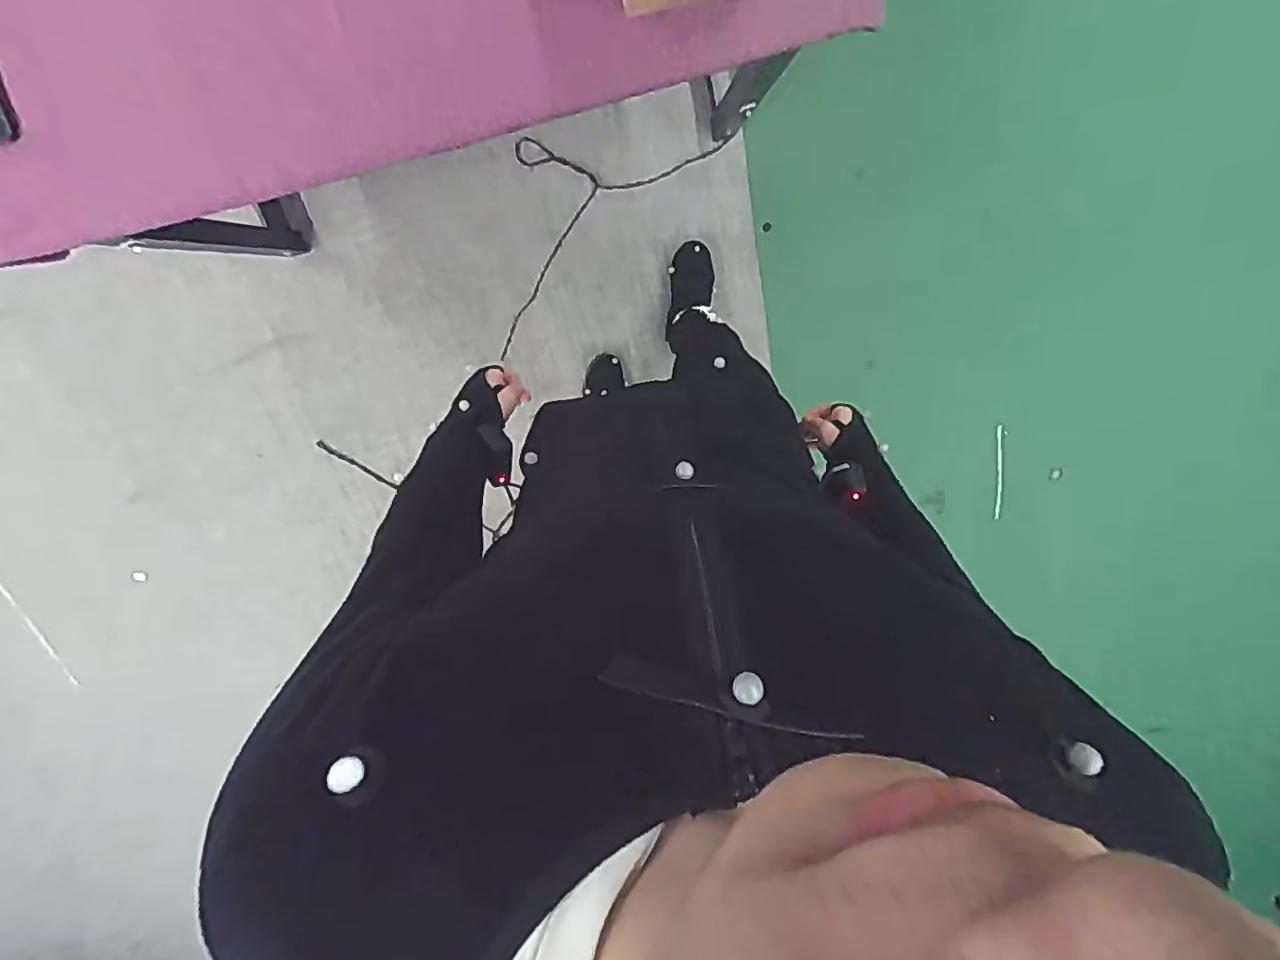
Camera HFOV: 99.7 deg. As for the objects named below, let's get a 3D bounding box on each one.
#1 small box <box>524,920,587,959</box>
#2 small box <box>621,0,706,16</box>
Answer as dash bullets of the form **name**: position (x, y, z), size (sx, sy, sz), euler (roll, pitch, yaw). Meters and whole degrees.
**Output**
- **small box**: position (-0.256, 1.487, 1.643), size (0.168, 0.176, 0.179), euler (-6, 109, 1)
- **small box**: position (0.041, -0.629, 0.550), size (0.168, 0.176, 0.179), euler (-10, 110, 4)
